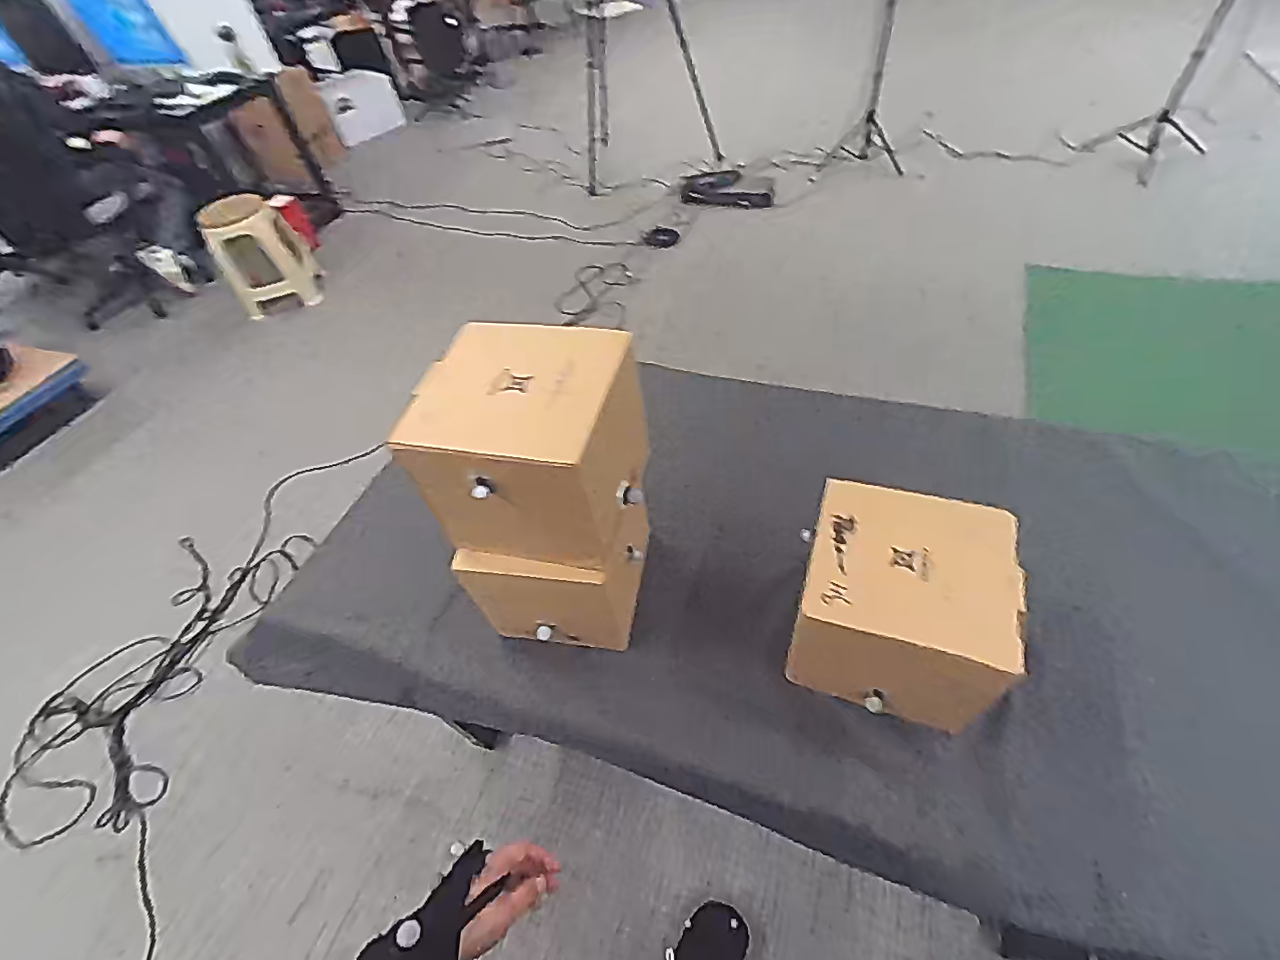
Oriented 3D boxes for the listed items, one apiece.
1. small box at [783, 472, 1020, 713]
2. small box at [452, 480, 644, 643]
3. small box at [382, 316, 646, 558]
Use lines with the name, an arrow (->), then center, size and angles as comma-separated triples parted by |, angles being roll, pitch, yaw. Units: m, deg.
small box -> 0.258, 0.120, 0.560 | 0.179, 0.176, 0.168 | 13, 54, 17
small box -> -0.092, 0.073, 0.650 | 0.168, 0.176, 0.179 | 3, 53, 11
small box -> -0.102, -0.040, 0.532 | 0.179, 0.176, 0.168 | 7, 54, 13
